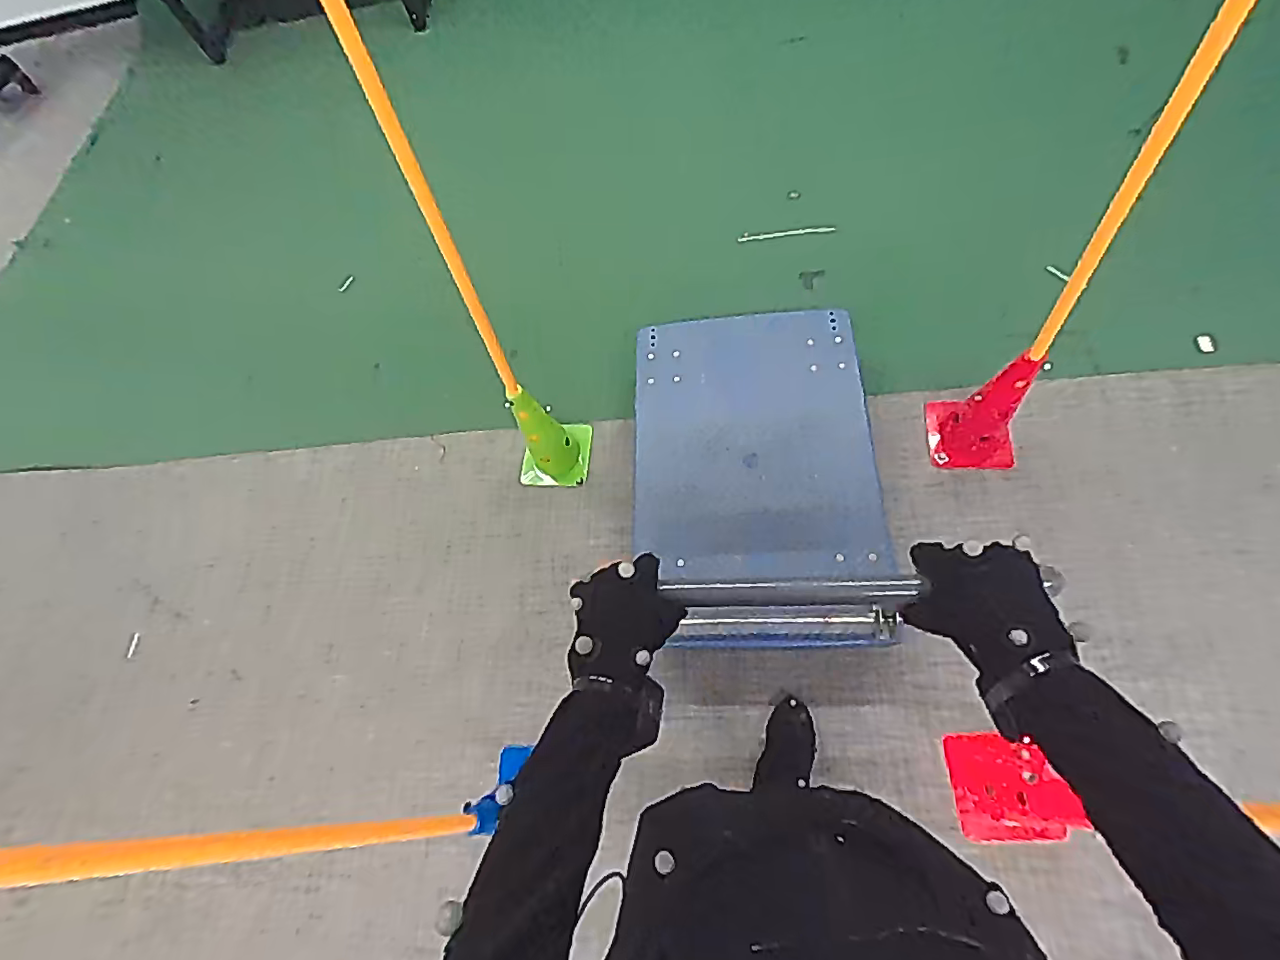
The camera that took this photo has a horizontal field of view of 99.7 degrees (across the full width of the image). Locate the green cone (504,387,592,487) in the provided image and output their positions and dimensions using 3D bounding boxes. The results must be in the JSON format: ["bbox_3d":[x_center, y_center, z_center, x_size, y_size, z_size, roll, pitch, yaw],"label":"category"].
[{"bbox_3d":[-0.275,-0.141,1.464,0.202,0.368,0.200,0,66,11],"label":"green cone"}]

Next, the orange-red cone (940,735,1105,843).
[{"bbox_3d":[0.724,0.579,0.987,0.199,0.360,0.198,-5,66,10],"label":"orange-red cone"}]
